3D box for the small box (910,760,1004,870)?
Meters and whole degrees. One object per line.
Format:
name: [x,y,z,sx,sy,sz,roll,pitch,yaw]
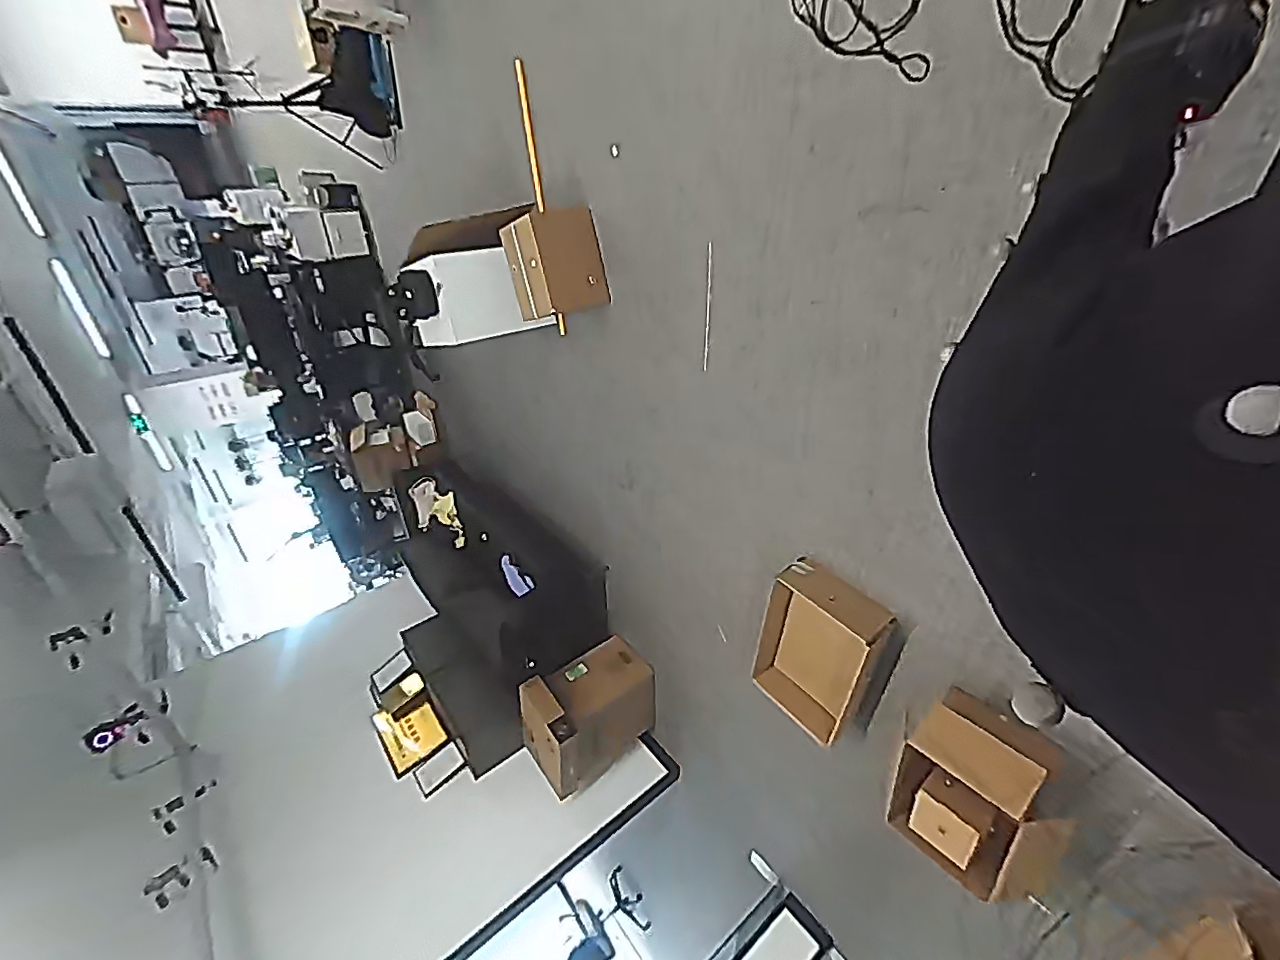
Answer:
small box: [0.918,0.957,1.561,0.168,0.176,0.179,28,130,46]
